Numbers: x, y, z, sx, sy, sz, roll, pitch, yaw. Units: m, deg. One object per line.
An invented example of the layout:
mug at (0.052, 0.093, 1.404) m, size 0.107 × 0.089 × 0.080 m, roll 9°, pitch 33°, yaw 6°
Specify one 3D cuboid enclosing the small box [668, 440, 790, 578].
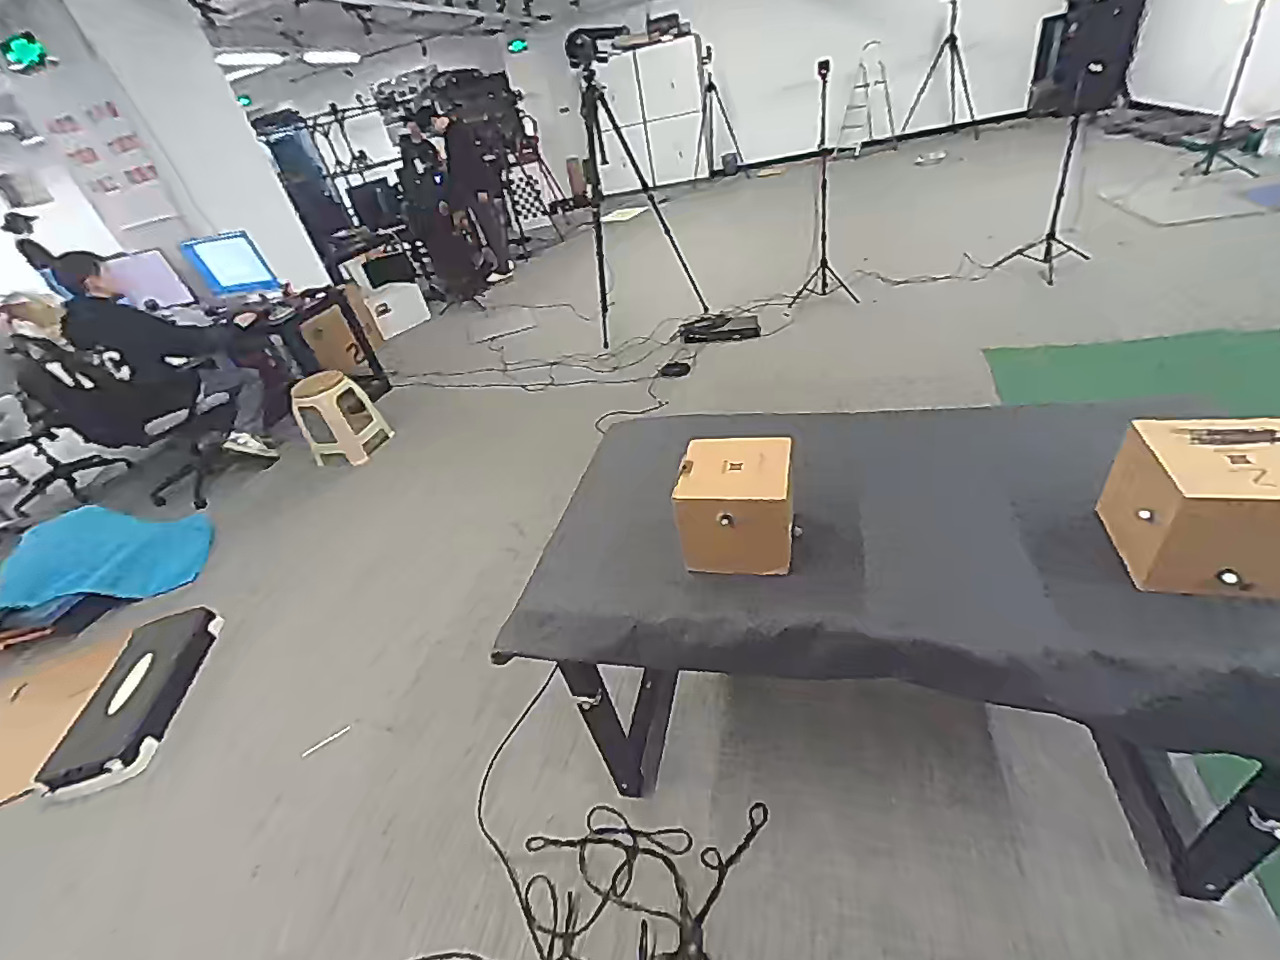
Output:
small box at (0.158, 0.048, 0.913) m, size 0.179 × 0.176 × 0.168 m, roll 1°, pitch 38°, yaw 18°
